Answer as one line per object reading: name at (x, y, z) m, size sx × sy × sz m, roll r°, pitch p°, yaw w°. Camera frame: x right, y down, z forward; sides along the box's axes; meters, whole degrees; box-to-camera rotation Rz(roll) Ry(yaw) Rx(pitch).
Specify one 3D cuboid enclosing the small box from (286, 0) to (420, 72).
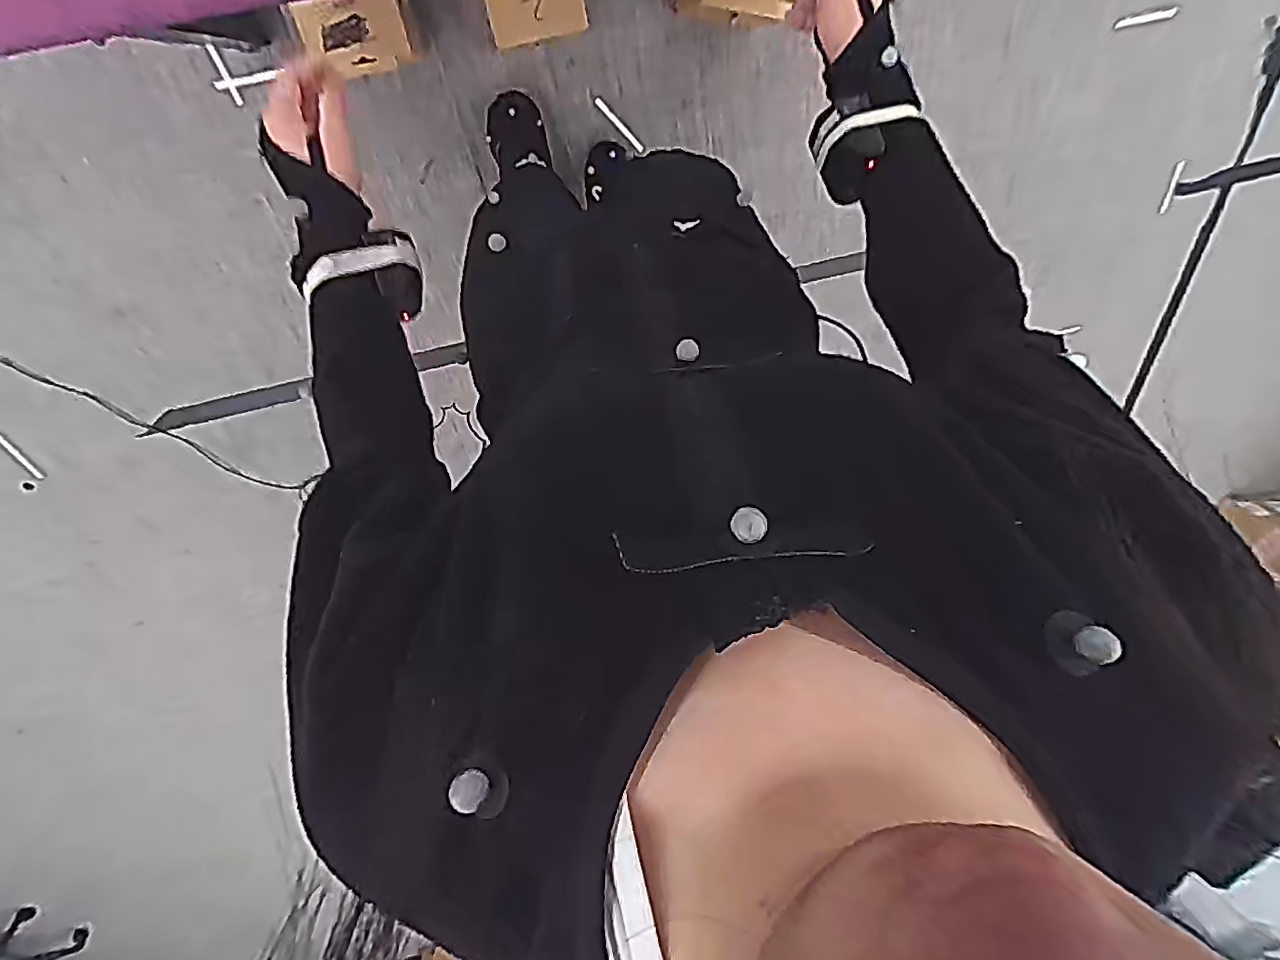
small box at (-0.489, -0.812, 0.915) m, size 0.168 × 0.176 × 0.179 m, roll -14°, pitch 127°, yaw -5°

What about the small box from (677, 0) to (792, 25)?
small box at (0.182, -0.956, 0.991) m, size 0.179 × 0.176 × 0.168 m, roll -1°, pitch 126°, yaw -13°
